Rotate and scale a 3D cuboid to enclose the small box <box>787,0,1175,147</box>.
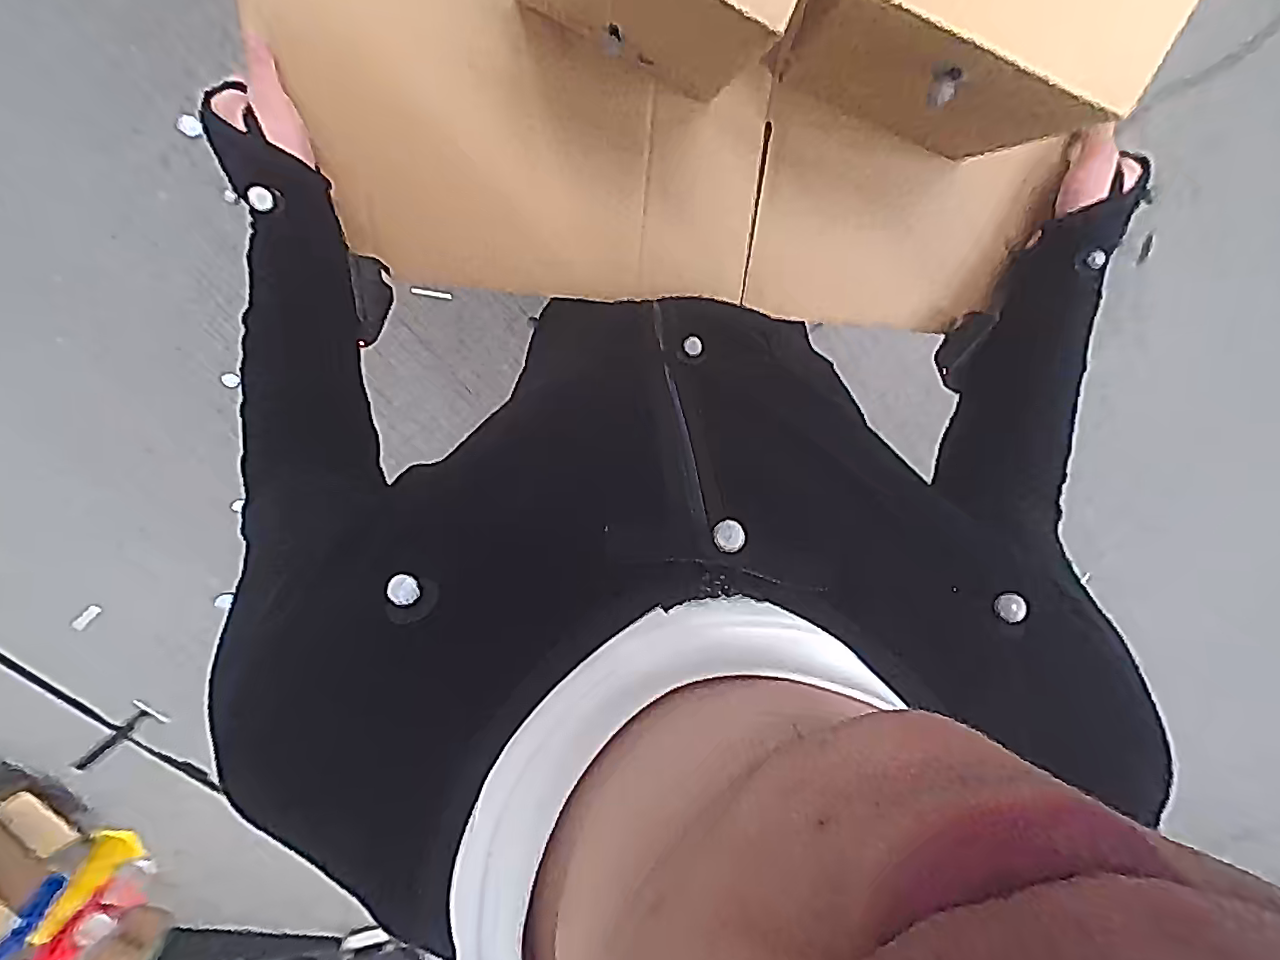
[{"bbox_3d":[0.226,-0.344,0.357,0.179,0.176,0.168,18,112,-8],"label":"small box"}]
